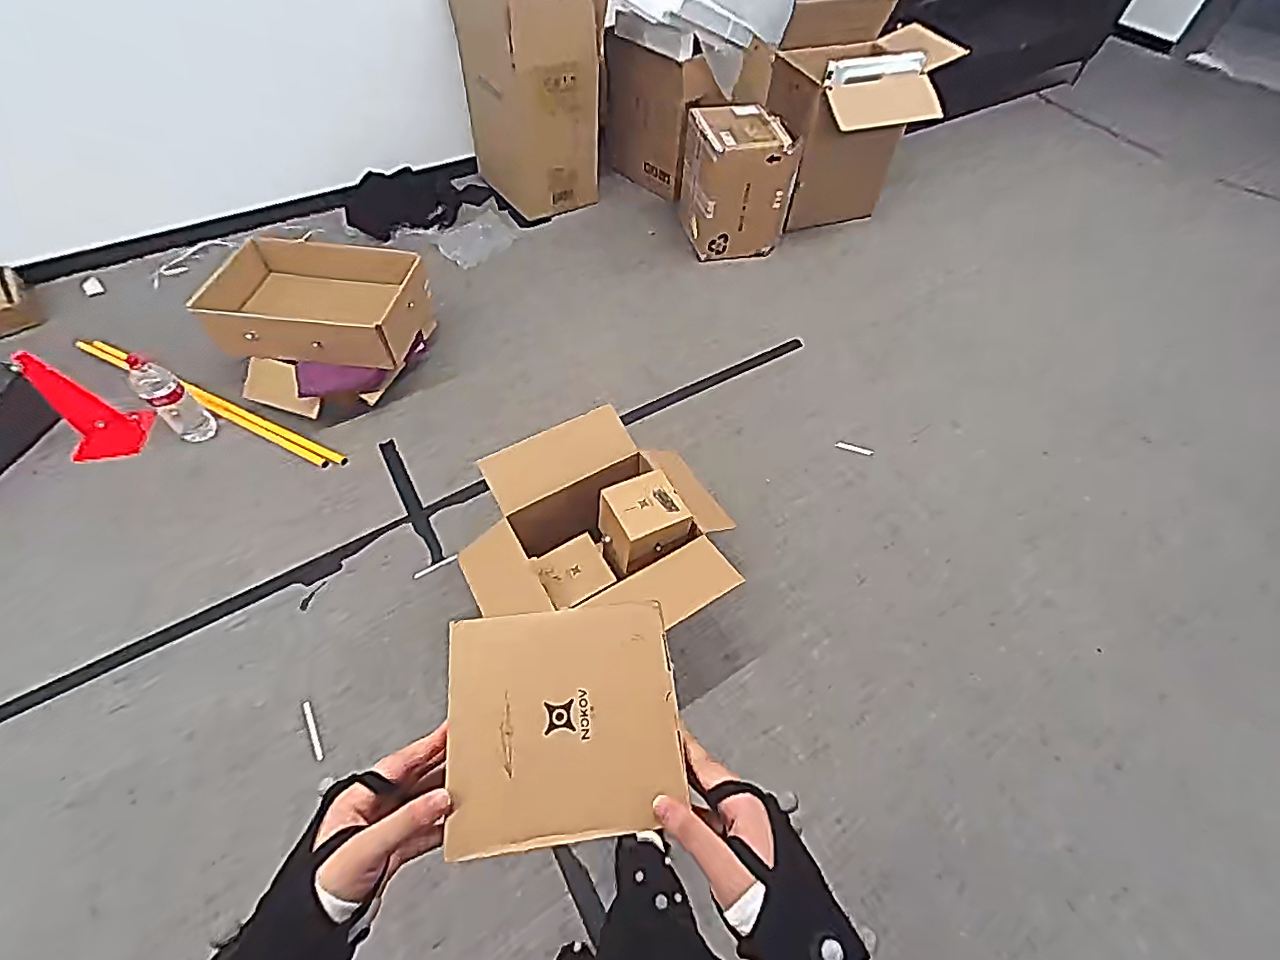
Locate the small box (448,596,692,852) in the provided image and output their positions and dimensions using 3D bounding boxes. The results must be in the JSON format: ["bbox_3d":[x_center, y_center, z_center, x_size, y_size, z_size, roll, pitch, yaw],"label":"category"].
[{"bbox_3d":[-0.064,0.217,0.489,0.179,0.176,0.168,-6,61,-7],"label":"small box"}]
